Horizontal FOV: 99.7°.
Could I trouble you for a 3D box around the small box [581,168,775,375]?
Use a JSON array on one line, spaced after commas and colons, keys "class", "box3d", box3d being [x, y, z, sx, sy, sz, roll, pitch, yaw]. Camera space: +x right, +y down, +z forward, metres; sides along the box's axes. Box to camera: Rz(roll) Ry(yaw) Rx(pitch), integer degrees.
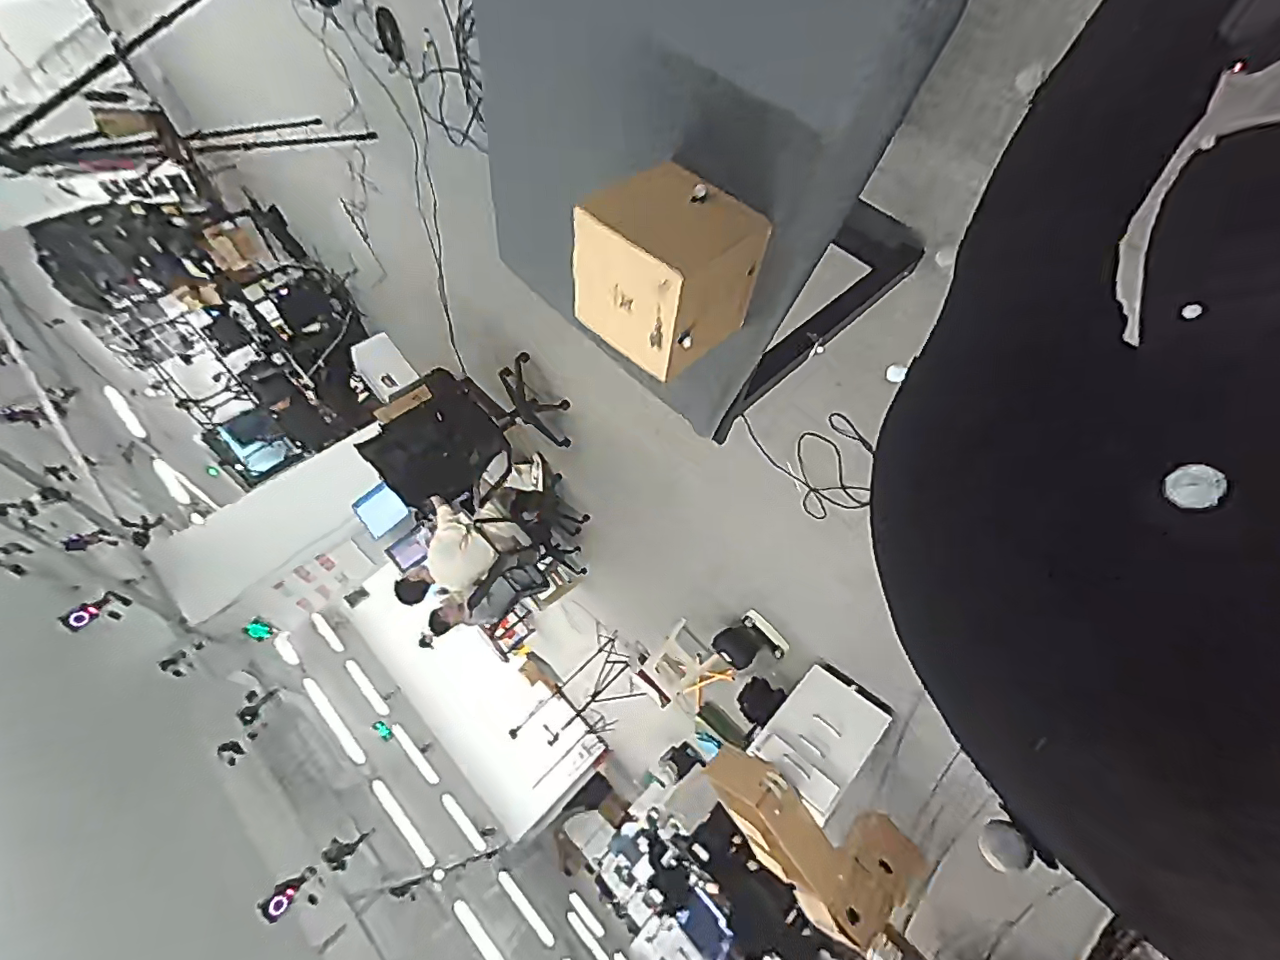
[{"class": "small box", "box3d": [0.042, -0.278, 0.707, 0.179, 0.176, 0.168, 42, 153, 19]}]
